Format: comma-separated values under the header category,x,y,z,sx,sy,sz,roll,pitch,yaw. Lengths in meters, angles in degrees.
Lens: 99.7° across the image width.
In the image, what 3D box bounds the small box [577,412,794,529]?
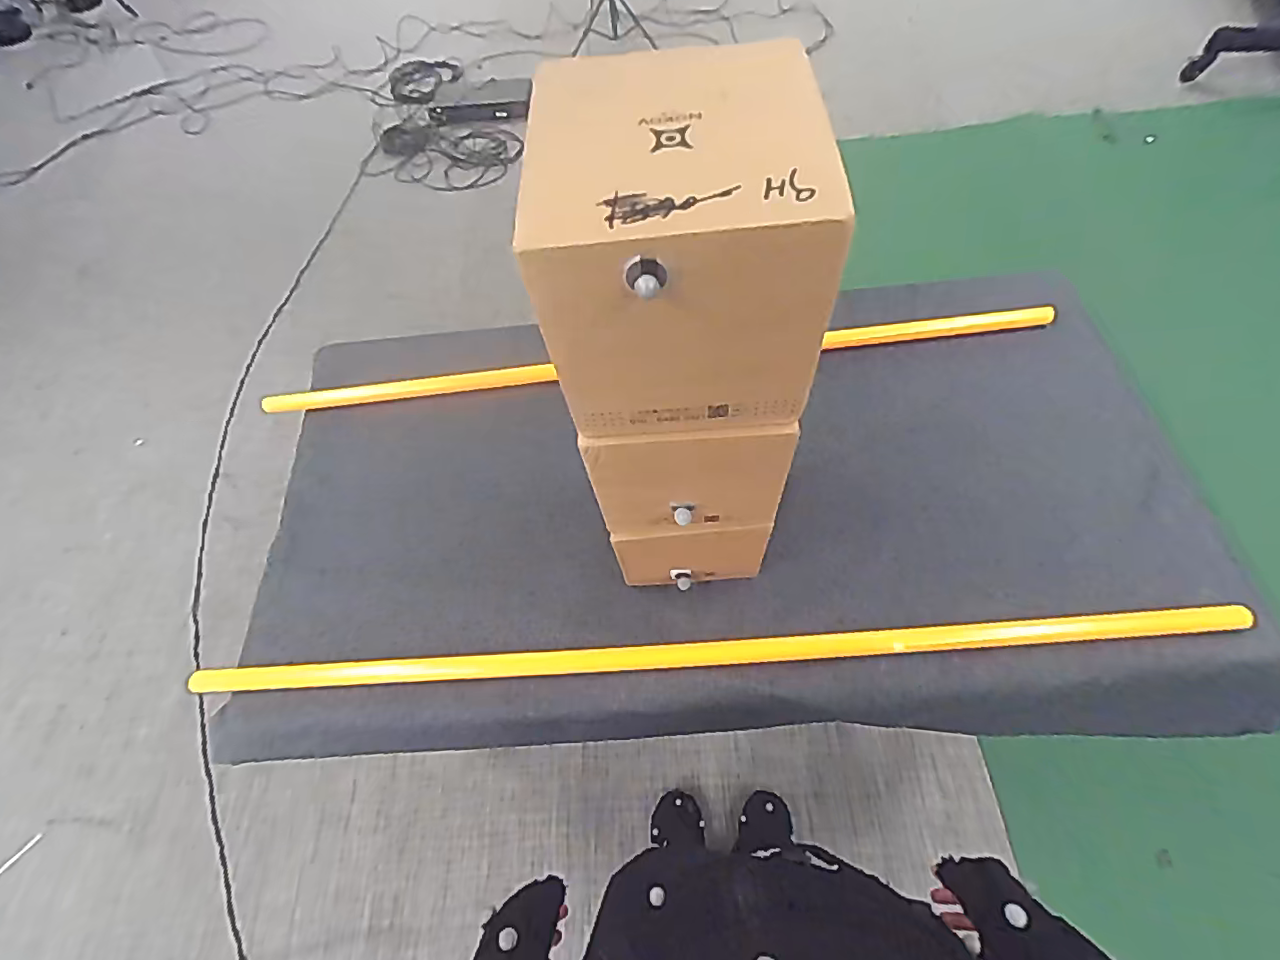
category,x,y,z,sx,sy,sz,roll,pitch,yaw
small box,0.041,-0.067,0.512,0.168,0.176,0.179,-3,62,5

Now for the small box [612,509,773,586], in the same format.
category,x,y,z,sx,sy,sz,roll,pitch,yaw
small box,0.055,0.015,0.655,0.168,0.176,0.179,-7,63,3

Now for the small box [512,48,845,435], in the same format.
category,x,y,z,sx,sy,sz,roll,pitch,yaw
small box,0.025,-0.152,0.373,0.168,0.176,0.179,-4,61,6
